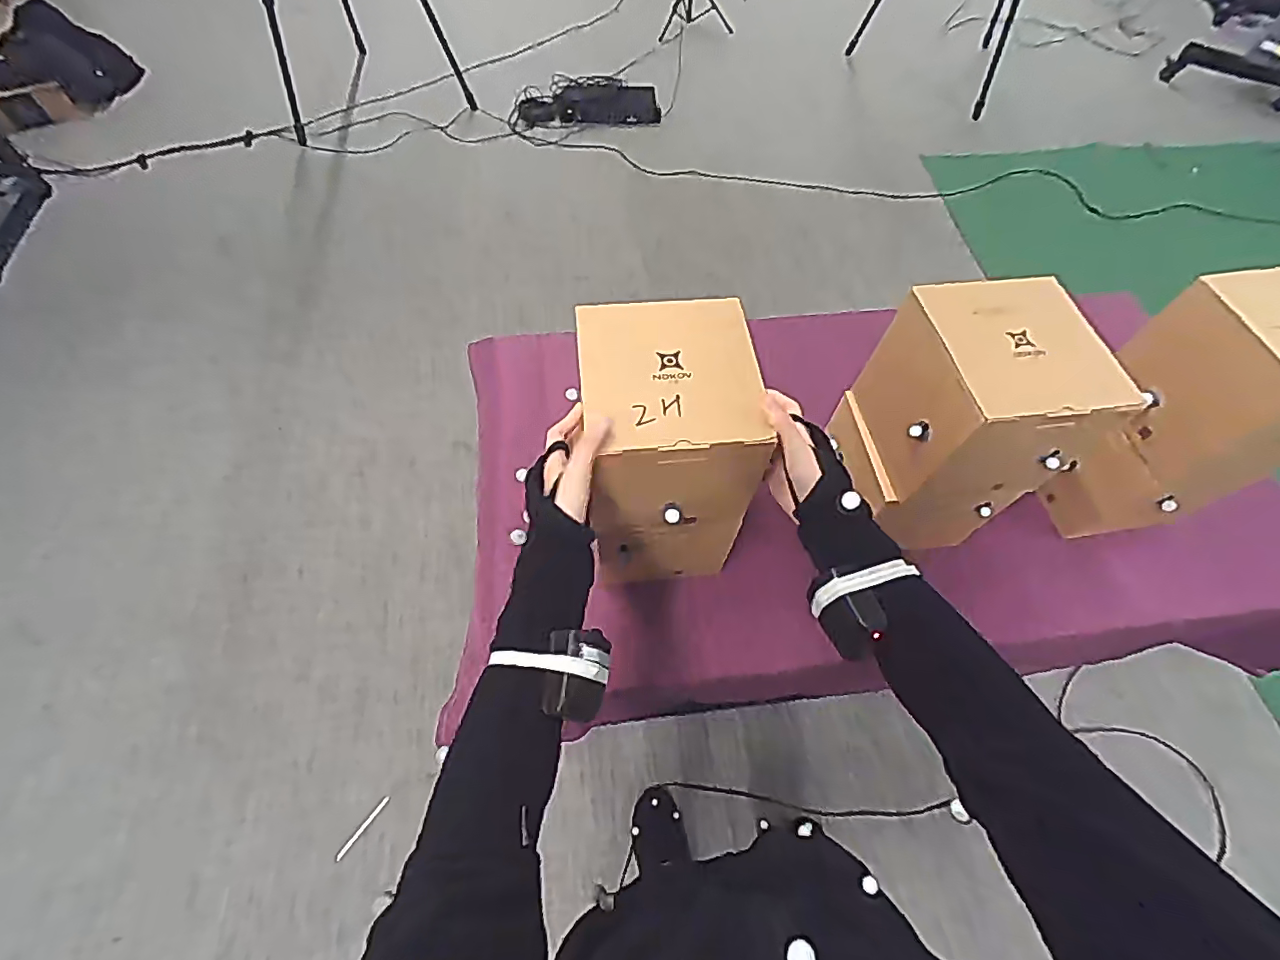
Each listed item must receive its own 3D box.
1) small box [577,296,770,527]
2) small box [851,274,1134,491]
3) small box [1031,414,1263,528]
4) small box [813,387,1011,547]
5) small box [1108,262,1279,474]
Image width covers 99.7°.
[{"bbox_3d":[0.021,-0.068,0.570,0.168,0.176,0.179,-5,60,-4],"label":"small box"},{"bbox_3d":[0.363,-0.098,0.600,0.168,0.176,0.179,-6,59,-6],"label":"small box"},{"bbox_3d":[0.678,-0.044,0.760,0.179,0.176,0.168,-8,61,-5],"label":"small box"},{"bbox_3d":[0.353,-0.017,0.741,0.179,0.176,0.168,-5,60,-5],"label":"small box"},{"bbox_3d":[0.681,-0.123,0.615,0.179,0.176,0.168,-7,60,-5],"label":"small box"}]
